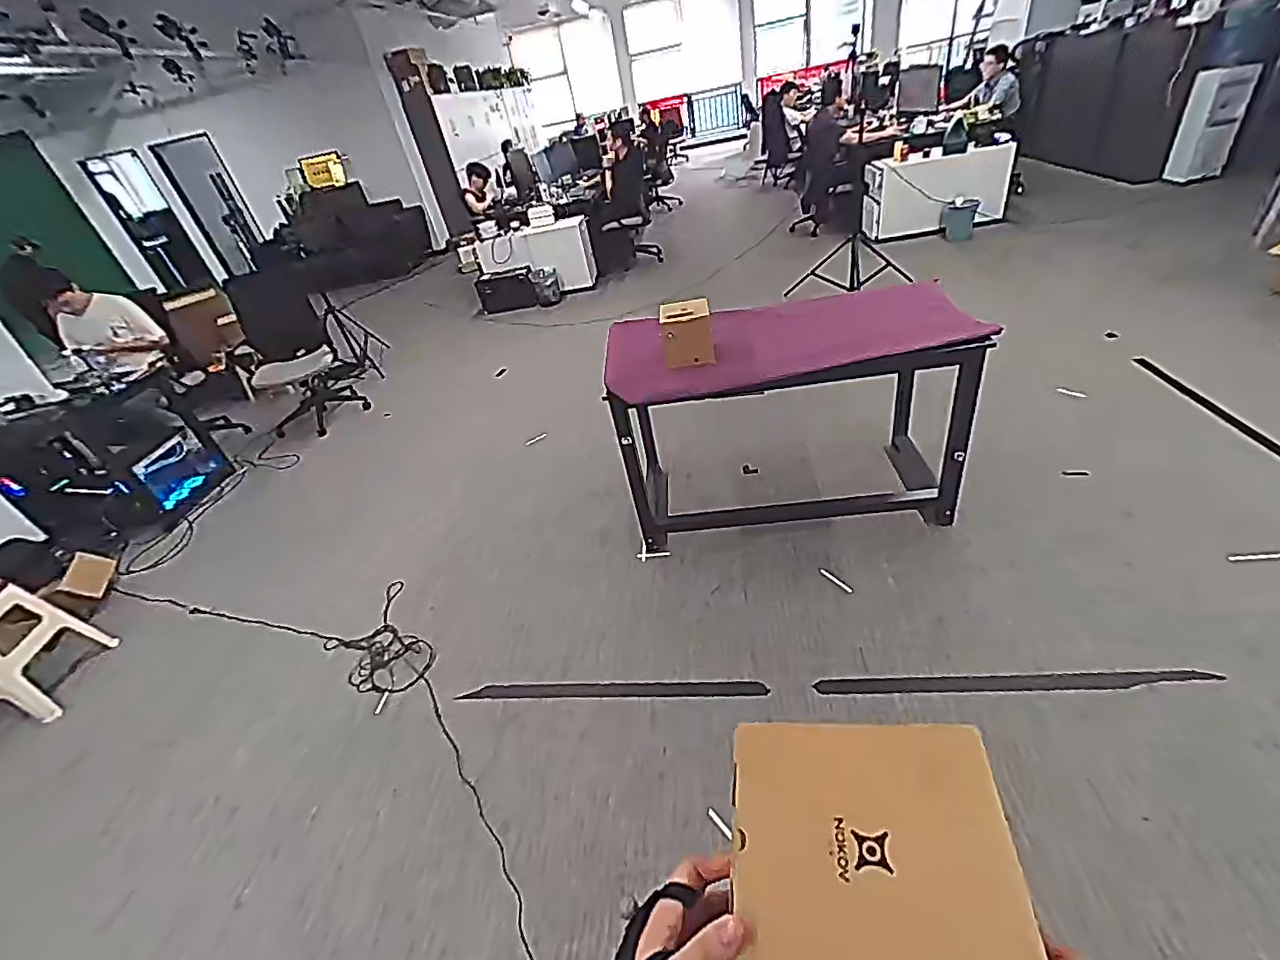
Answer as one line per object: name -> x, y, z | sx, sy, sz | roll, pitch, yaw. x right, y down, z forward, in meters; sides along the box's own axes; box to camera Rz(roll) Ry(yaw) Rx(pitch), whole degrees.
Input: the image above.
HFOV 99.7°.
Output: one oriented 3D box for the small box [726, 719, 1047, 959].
small box -> 0.169, 0.295, 0.398 | 0.179, 0.176, 0.168 | -9, 40, 19
